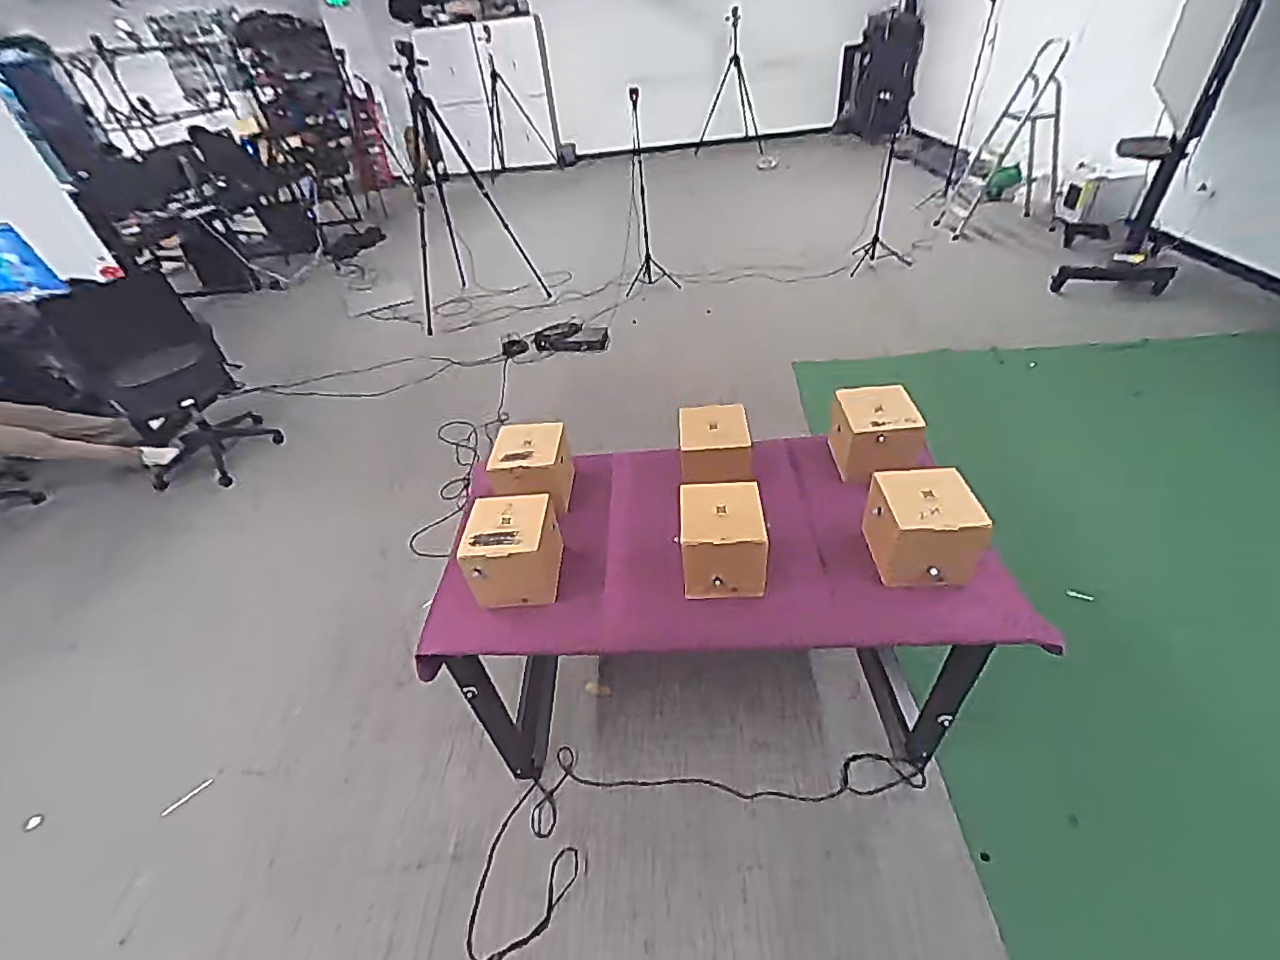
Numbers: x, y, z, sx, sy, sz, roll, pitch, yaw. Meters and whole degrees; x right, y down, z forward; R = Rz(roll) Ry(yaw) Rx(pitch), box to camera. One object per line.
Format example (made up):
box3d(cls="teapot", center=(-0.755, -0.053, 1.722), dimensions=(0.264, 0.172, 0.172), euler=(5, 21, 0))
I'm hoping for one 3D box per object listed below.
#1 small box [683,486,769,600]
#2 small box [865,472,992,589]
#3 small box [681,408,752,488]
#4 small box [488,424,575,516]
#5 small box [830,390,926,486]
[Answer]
box3d(cls="small box", center=(0.173, 0.132, 1.141), dimensions=(0.168, 0.176, 0.179), euler=(-2, 40, 5))
box3d(cls="small box", center=(0.575, 0.104, 1.109), dimensions=(0.168, 0.176, 0.179), euler=(-3, 39, 7))
box3d(cls="small box", center=(0.189, -0.064, 1.370), dimensions=(0.168, 0.176, 0.179), euler=(-3, 42, 6))
box3d(cls="small box", center=(-0.267, -0.021, 1.380), dimensions=(0.168, 0.176, 0.179), euler=(-2, 41, 4))
box3d(cls="small box", center=(0.585, -0.105, 1.353), dimensions=(0.168, 0.176, 0.179), euler=(-5, 41, 6))
